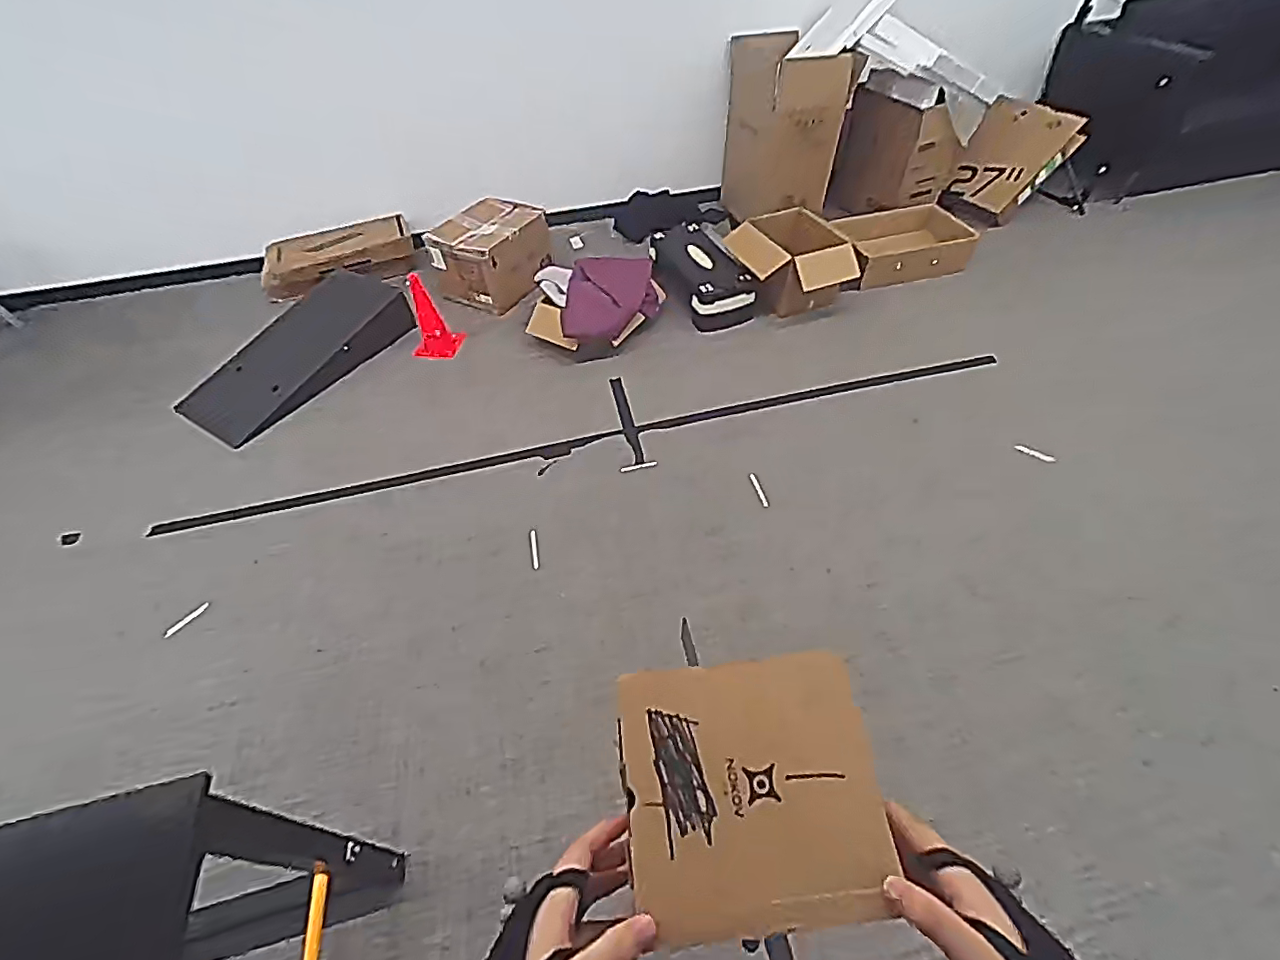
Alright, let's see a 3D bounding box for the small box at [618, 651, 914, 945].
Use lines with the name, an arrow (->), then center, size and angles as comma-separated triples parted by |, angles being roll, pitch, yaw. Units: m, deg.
small box -> 0.081, 0.250, 0.441 | 0.179, 0.176, 0.168 | -6, 60, -1
